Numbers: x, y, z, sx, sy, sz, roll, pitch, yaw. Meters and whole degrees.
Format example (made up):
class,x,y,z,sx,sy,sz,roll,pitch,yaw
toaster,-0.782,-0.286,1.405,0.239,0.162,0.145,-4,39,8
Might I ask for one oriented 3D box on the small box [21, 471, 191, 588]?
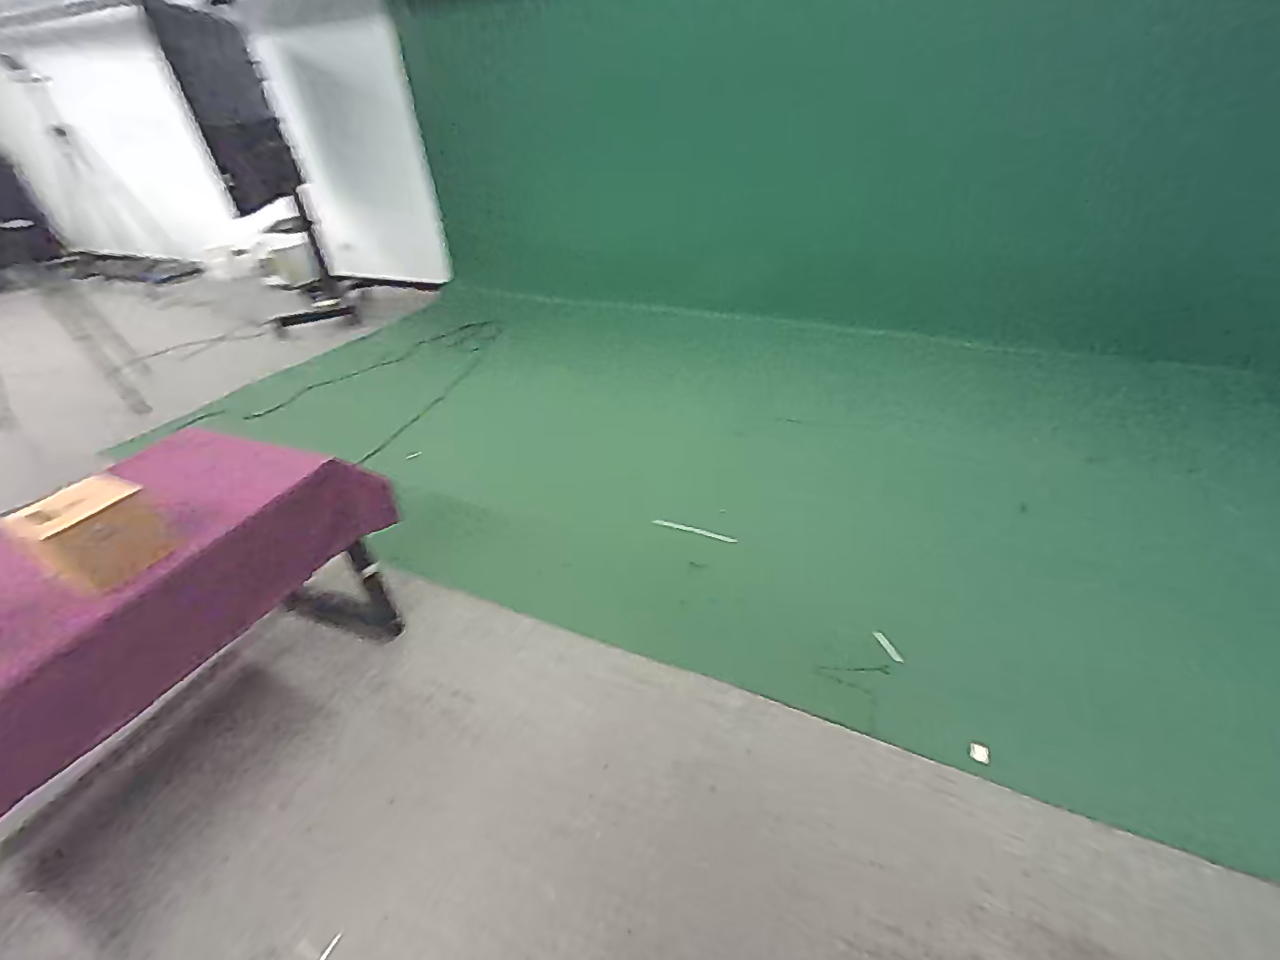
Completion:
class,x,y,z,sx,sy,sz,roll,pitch,yaw
small box,-1.149,0.108,1.179,0.168,0.176,0.179,12,39,21
